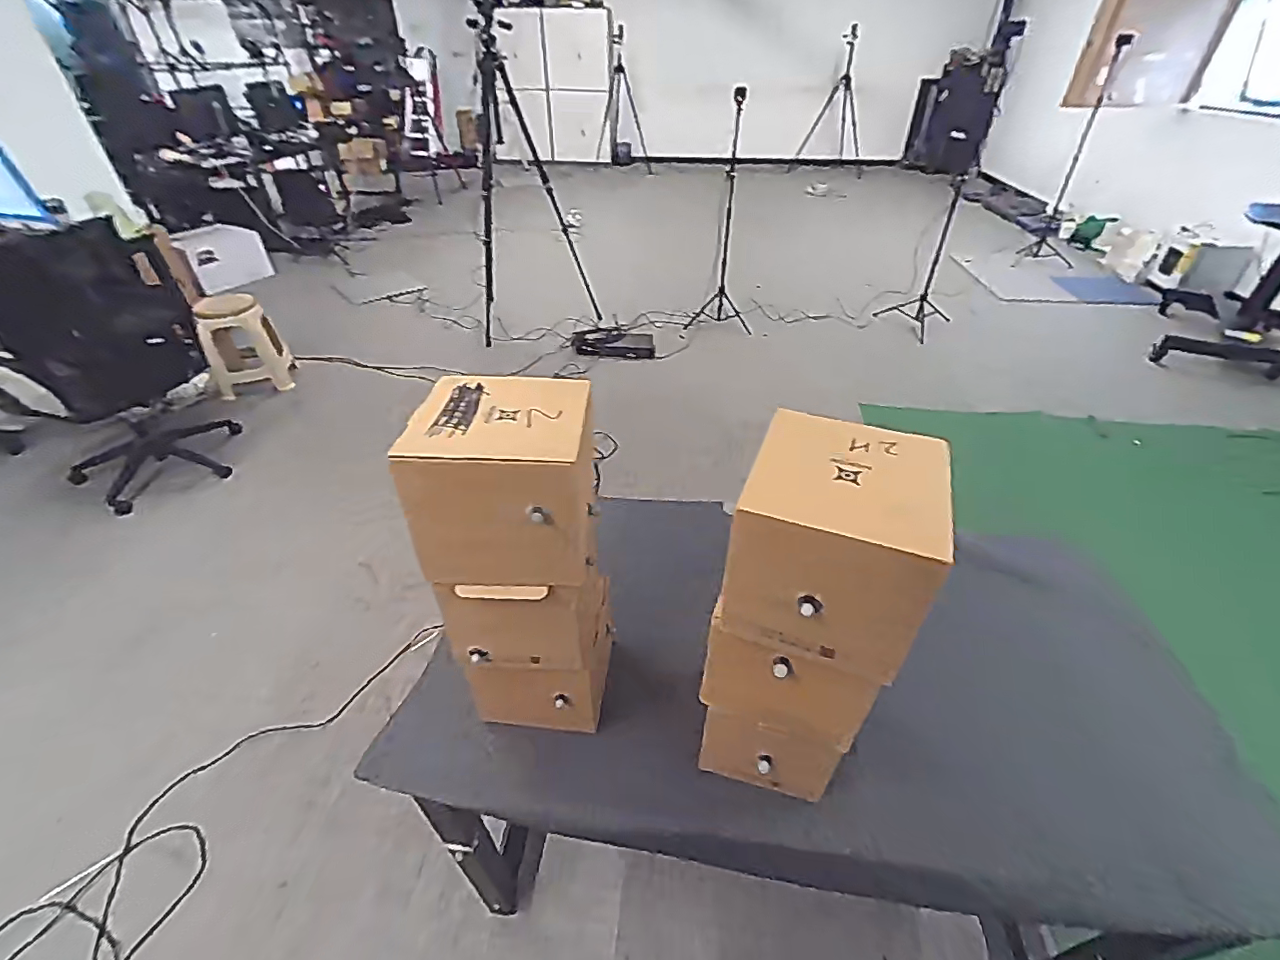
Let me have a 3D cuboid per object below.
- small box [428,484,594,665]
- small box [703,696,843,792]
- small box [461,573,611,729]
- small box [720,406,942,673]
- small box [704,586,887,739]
[{"bbox_3d":[-0.152,0.123,0.711,0.168,0.176,0.179,1,37,1],"label":"small box"},{"bbox_3d":[0.183,0.297,0.750,0.168,0.176,0.179,9,40,13],"label":"small box"},{"bbox_3d":[-0.141,0.252,0.813,0.179,0.176,0.168,2,37,5],"label":"small box"},{"bbox_3d":[0.180,0.054,0.528,0.168,0.176,0.179,14,41,18],"label":"small box"},{"bbox_3d":[0.183,0.175,0.641,0.179,0.176,0.168,13,40,17],"label":"small box"}]
